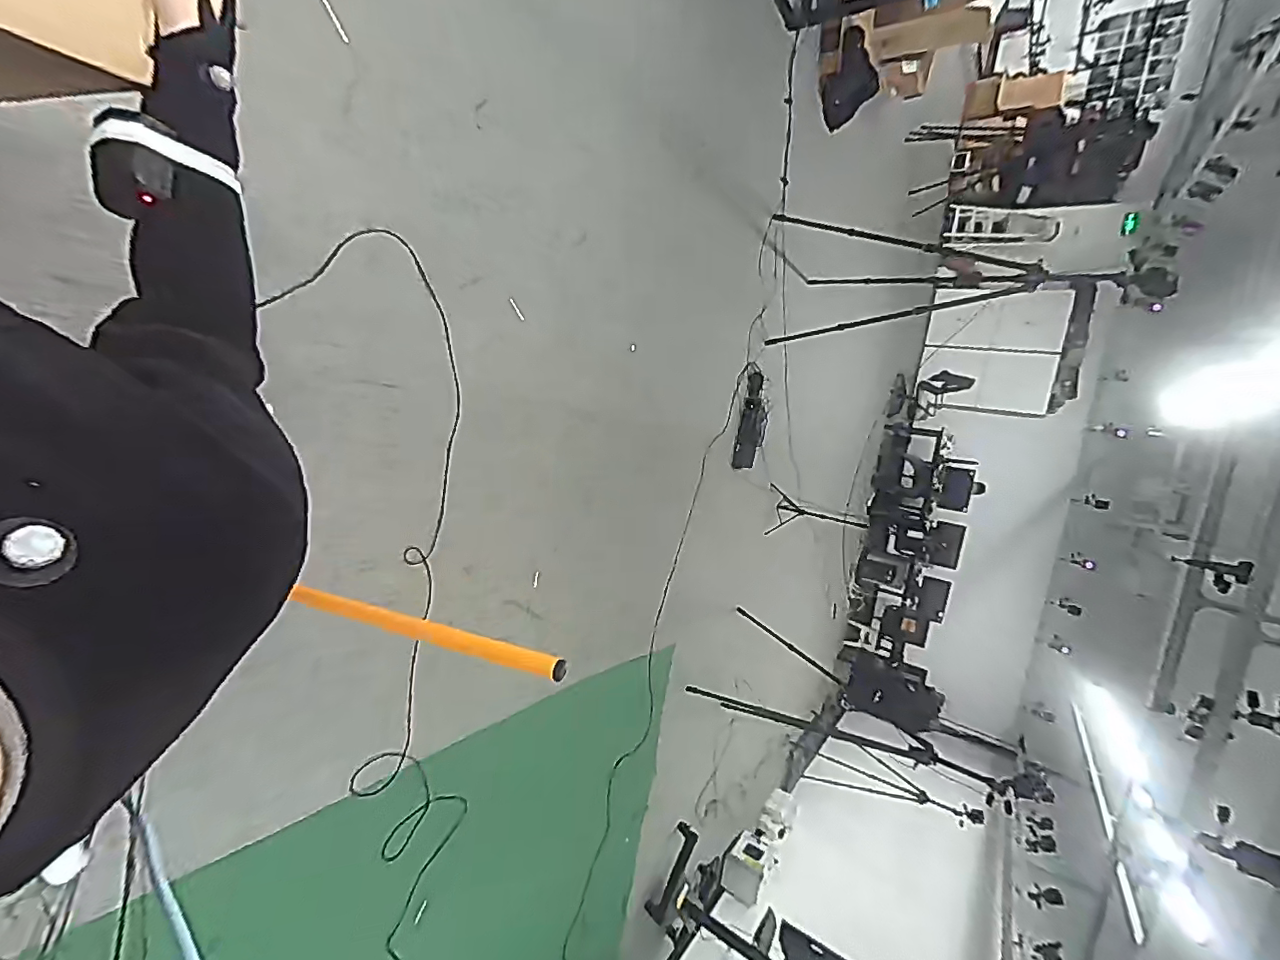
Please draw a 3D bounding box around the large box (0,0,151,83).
[{"bbox_3d":[-0.572,-0.466,0.272,0.408,0.320,0.320,-16,119,-61],"label":"large box"}]
